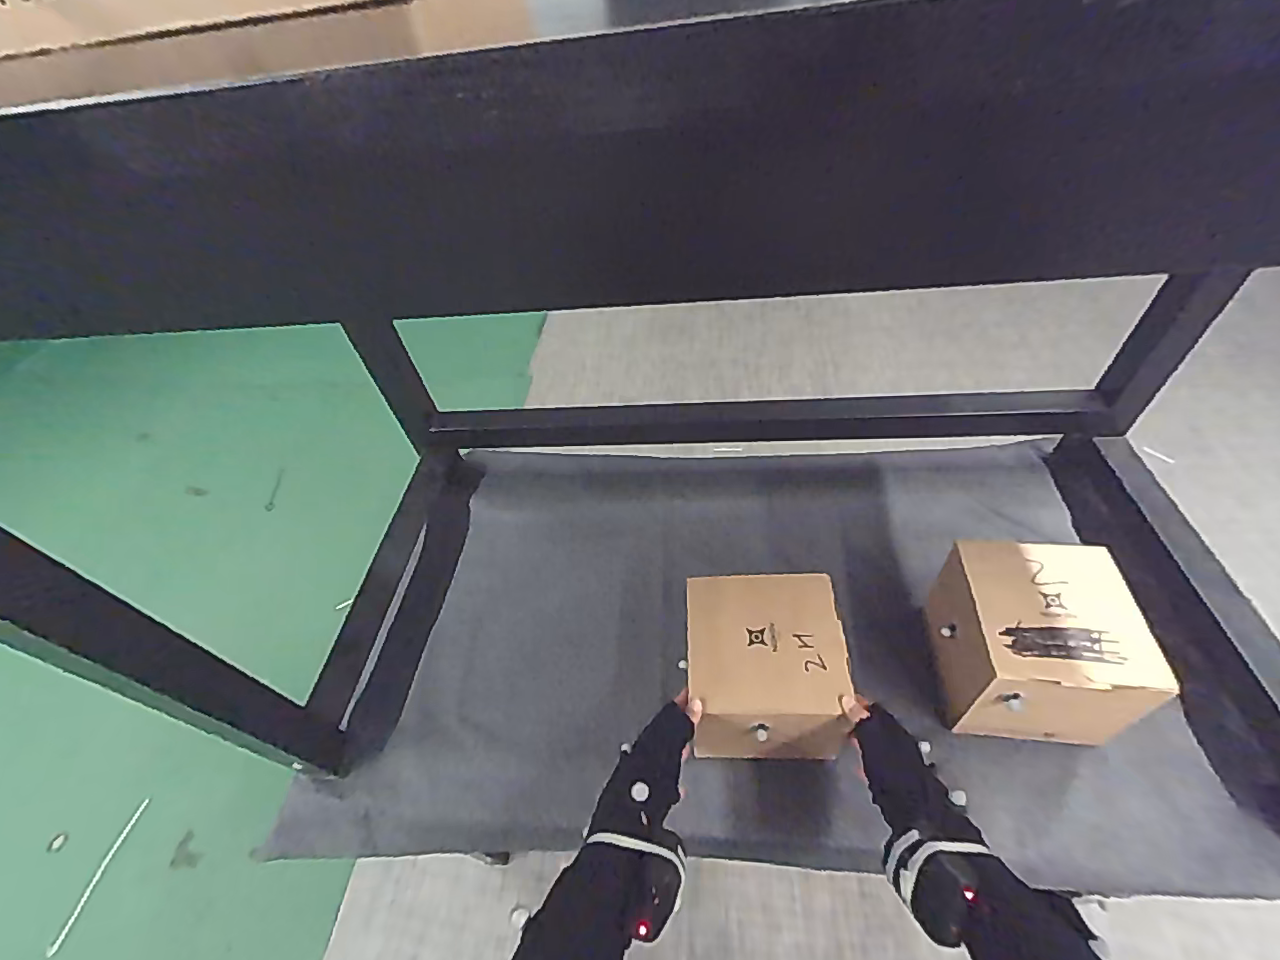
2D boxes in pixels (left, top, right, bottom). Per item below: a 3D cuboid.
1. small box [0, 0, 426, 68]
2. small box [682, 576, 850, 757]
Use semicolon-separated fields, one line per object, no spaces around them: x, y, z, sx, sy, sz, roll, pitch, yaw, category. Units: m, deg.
-0.162;-0.257;0.178;0.168;0.176;0.179;-2;48;7;small box
0.145;0.235;0.675;0.179;0.176;0.168;-2;49;7;small box
